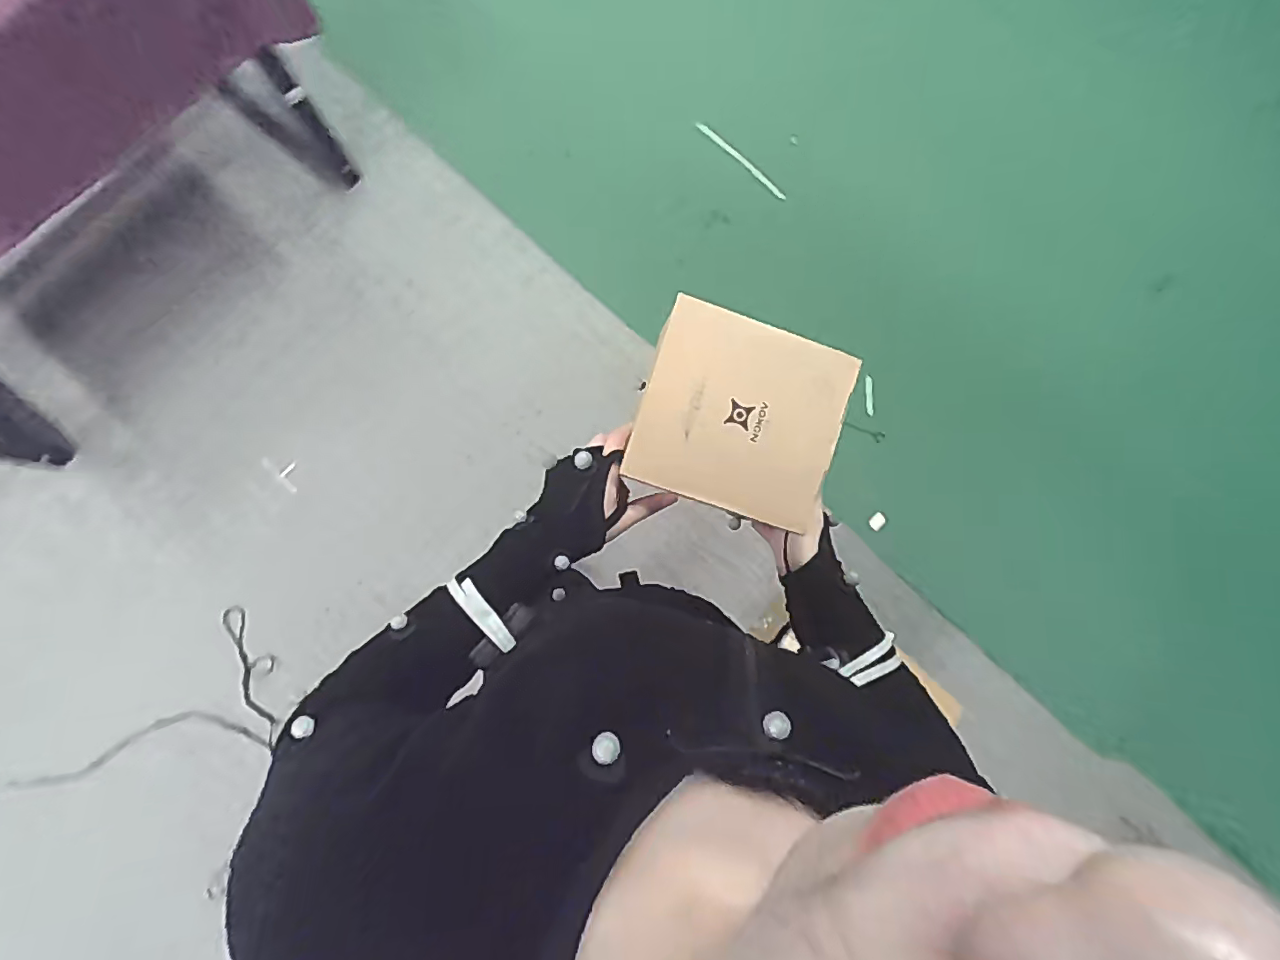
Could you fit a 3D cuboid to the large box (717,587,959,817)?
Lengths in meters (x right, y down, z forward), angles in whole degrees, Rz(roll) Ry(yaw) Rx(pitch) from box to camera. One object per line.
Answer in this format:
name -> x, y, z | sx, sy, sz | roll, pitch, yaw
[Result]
large box -> 0.464, 0.515, 1.351 | 0.408, 0.320, 0.320 | 42, 82, 2
